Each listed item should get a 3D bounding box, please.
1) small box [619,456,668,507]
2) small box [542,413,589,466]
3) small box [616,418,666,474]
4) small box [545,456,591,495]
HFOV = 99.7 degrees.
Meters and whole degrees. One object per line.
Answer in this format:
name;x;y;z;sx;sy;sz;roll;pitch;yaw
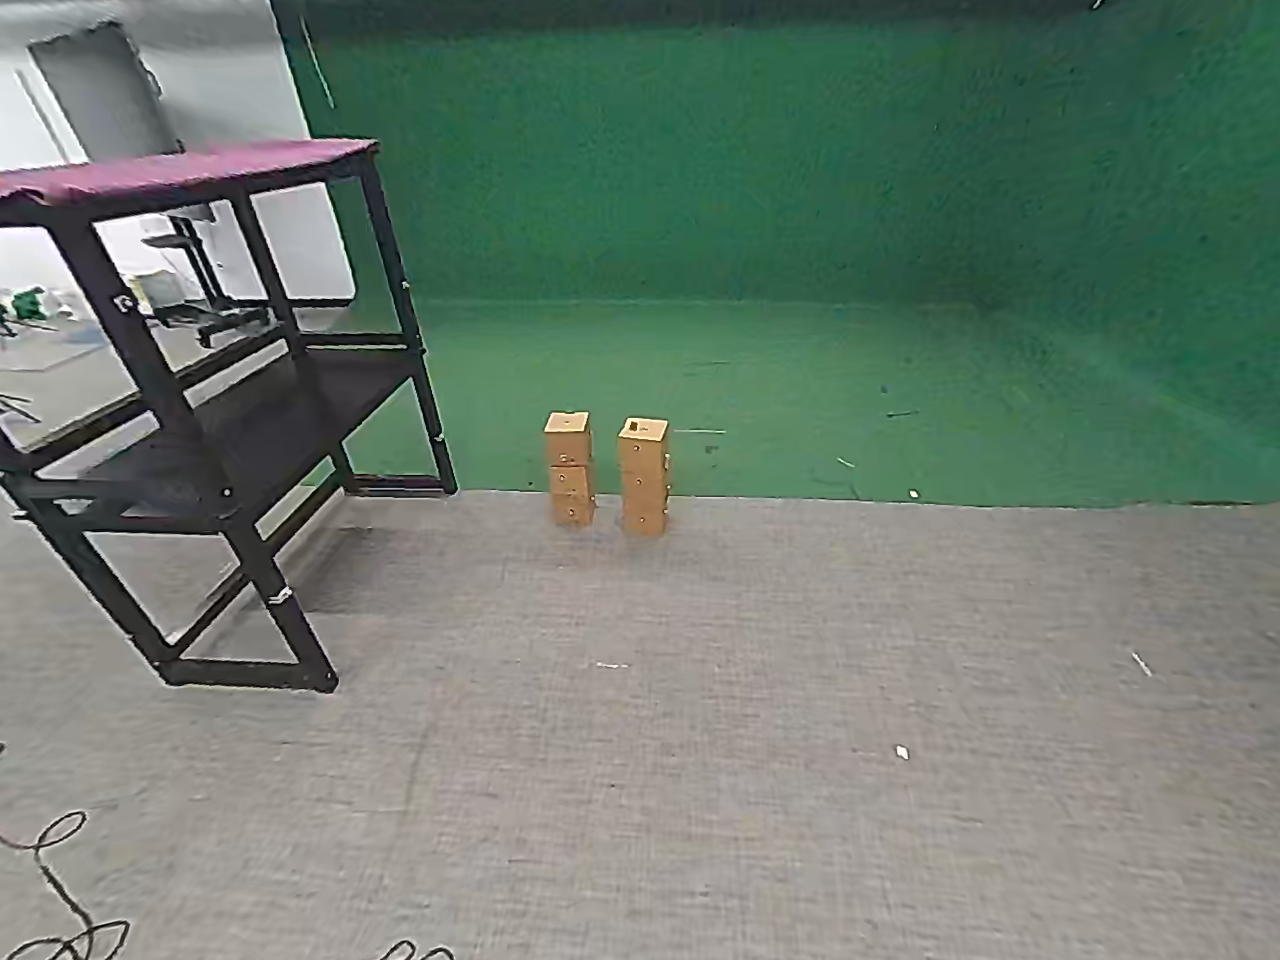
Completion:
small box;0.020;-0.002;2.315;0.179;0.176;0.168;8;36;14
small box;-0.309;-0.172;2.296;0.168;0.176;0.179;-2;34;3
small box;0.008;-0.137;2.223;0.179;0.176;0.168;6;35;12
small box;-0.316;-0.045;2.399;0.168;0.176;0.179;1;33;4
